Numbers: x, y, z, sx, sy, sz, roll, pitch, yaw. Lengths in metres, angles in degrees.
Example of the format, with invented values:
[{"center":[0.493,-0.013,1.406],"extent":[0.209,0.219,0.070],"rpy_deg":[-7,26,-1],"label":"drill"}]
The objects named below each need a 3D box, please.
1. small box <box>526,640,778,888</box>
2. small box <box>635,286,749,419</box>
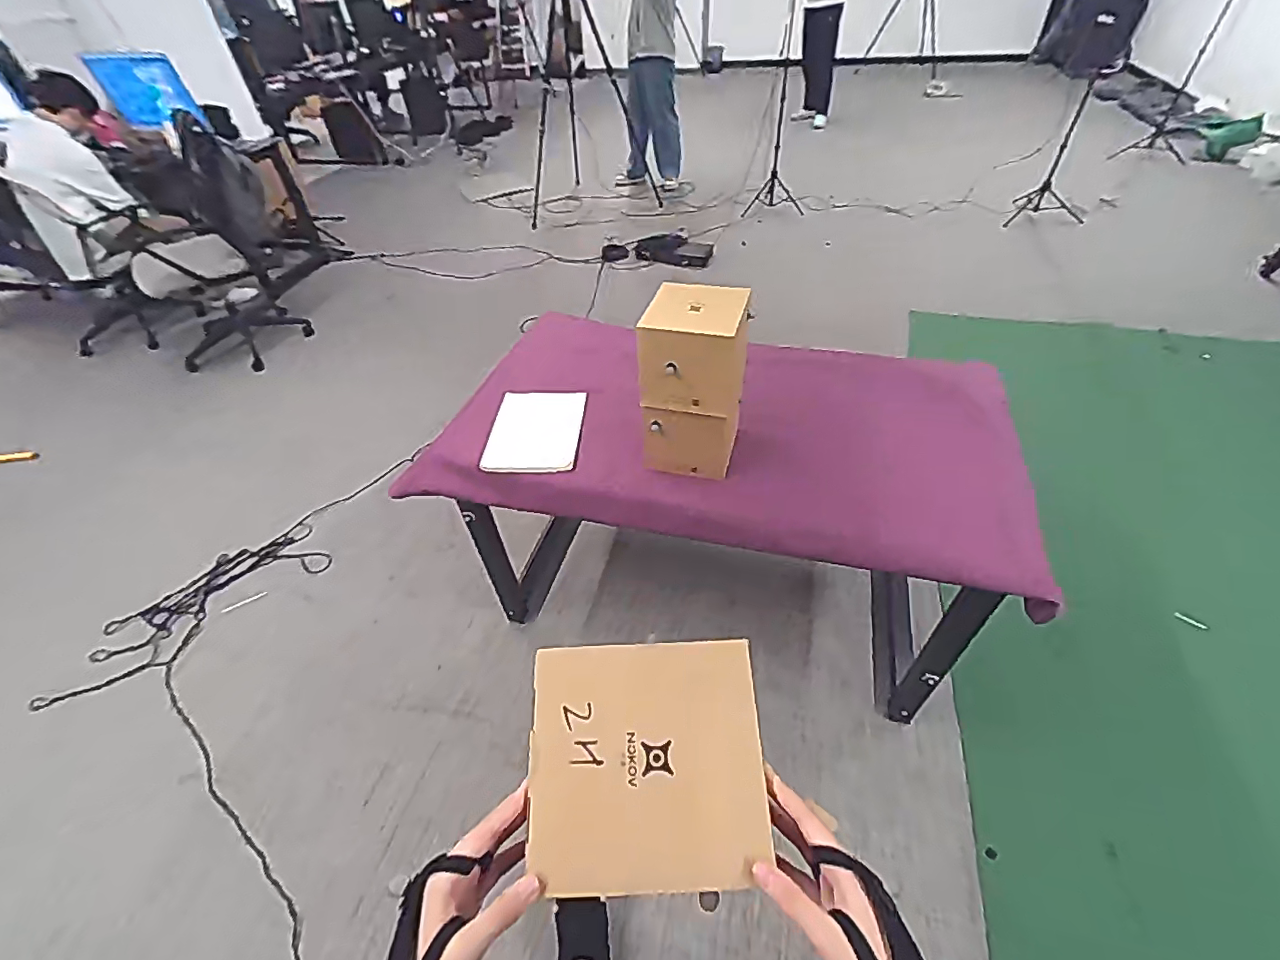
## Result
[{"center":[0.008,0.240,0.476],"extent":[0.179,0.176,0.168],"rpy_deg":[-2,62,1],"label":"small box"},{"center":[0.099,-0.232,0.986],"extent":[0.168,0.176,0.179],"rpy_deg":[10,45,14],"label":"small box"}]
